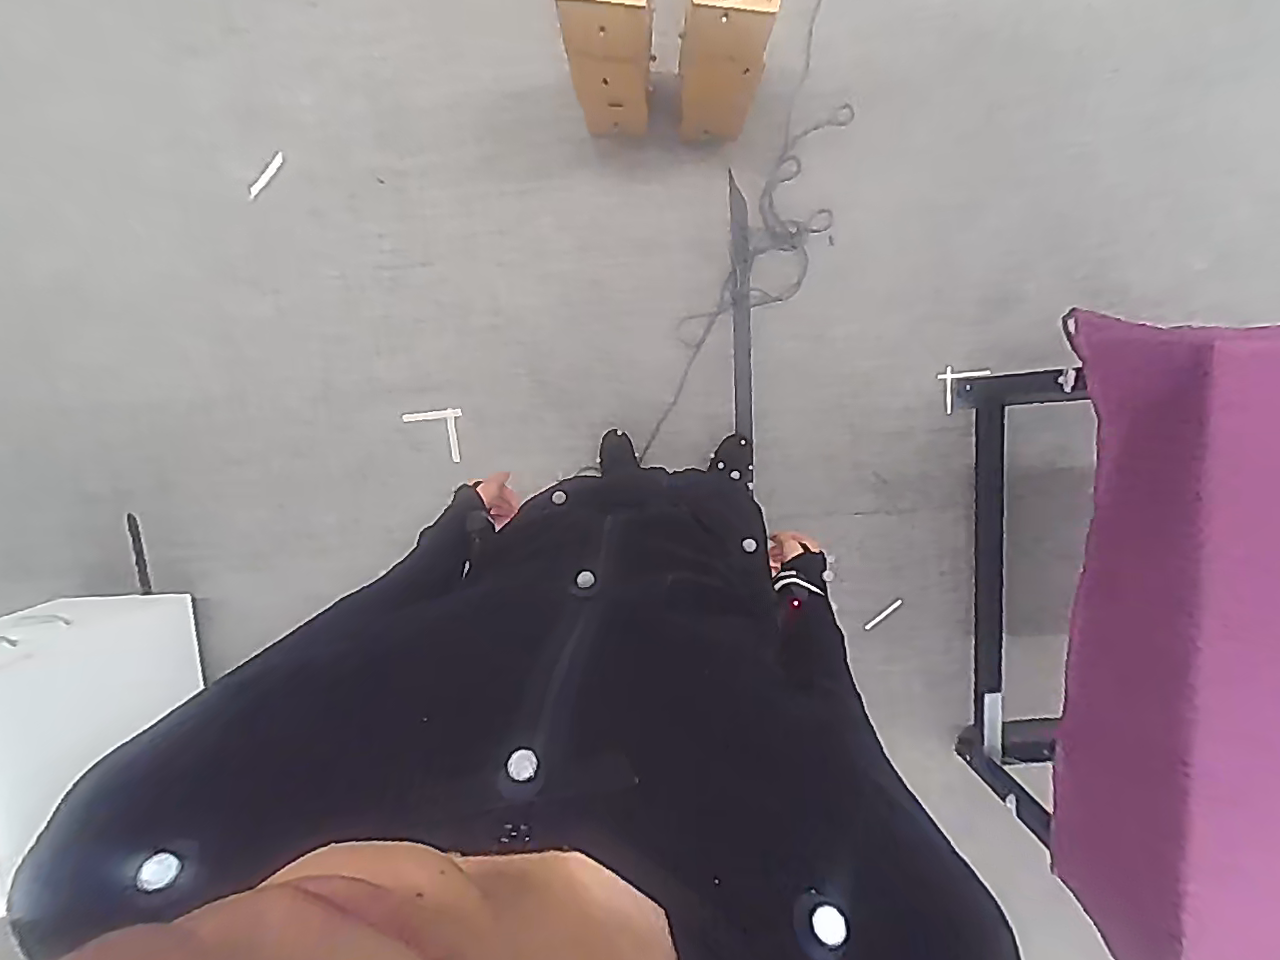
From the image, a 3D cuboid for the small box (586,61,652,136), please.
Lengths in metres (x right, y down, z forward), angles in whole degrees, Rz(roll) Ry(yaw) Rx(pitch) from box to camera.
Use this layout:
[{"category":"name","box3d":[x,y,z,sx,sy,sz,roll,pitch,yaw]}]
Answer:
[{"category":"small box","box3d":[-0.054,-1.027,1.398,0.168,0.176,0.179,2,97,0]}]

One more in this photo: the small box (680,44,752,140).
[{"category":"small box","box3d":[0.192,-1.017,1.402,0.168,0.176,0.179,-3,97,1]}]

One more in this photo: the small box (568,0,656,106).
[{"category":"small box","box3d":[-0.060,-0.991,1.237,0.179,0.176,0.168,6,97,0]}]

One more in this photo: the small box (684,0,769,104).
[{"category":"small box","box3d":[0.193,-0.996,1.241,0.179,0.176,0.168,-1,97,0]}]

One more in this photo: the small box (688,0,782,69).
[{"category":"small box","box3d":[0.190,-0.974,1.079,0.168,0.176,0.179,6,96,-1]}]
